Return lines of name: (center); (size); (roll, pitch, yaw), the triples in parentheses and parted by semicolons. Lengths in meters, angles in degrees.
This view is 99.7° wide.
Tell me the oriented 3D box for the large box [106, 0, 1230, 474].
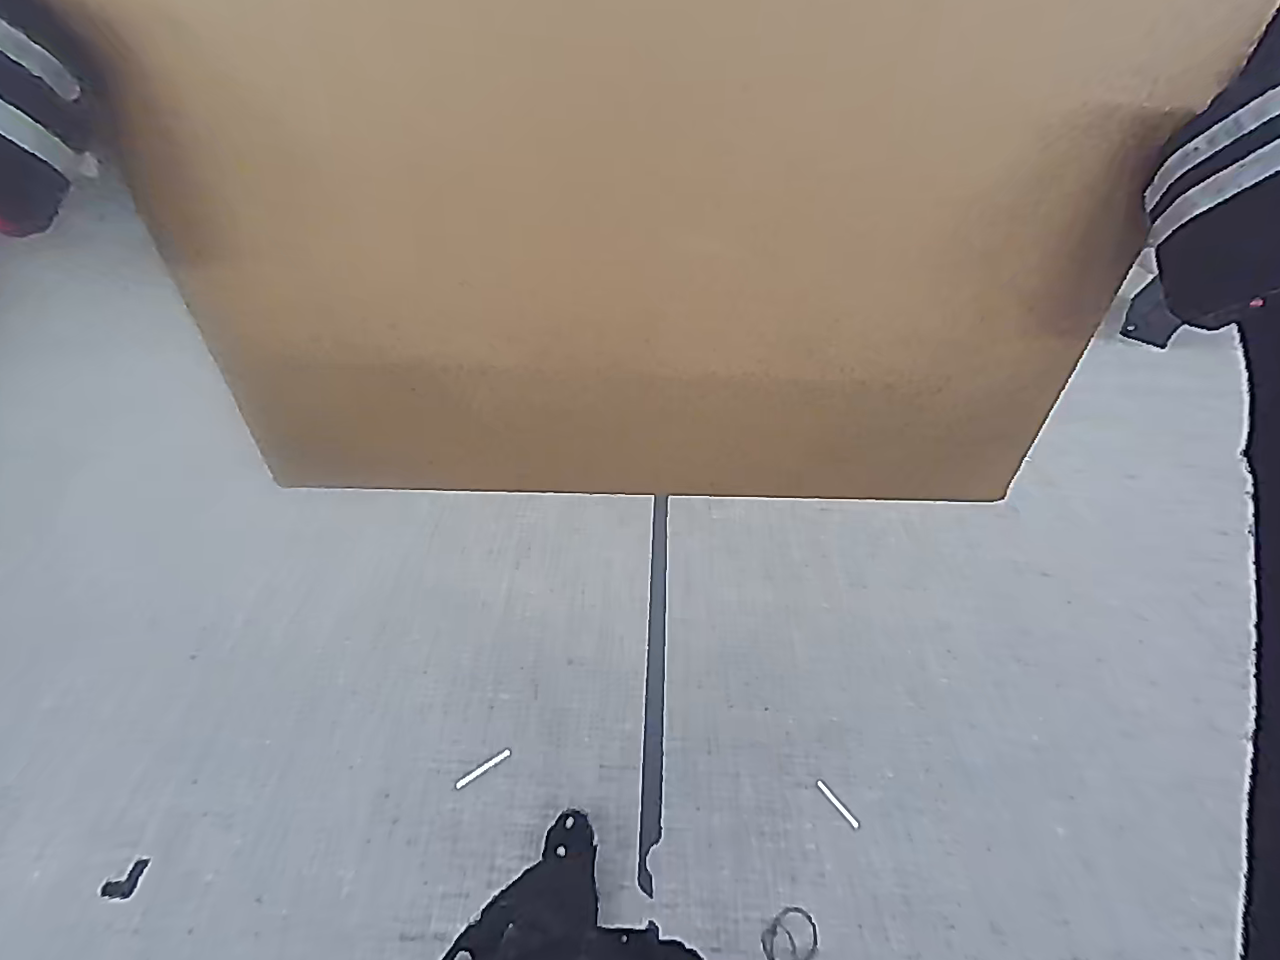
large box: (0.007, -0.215, 0.336); (0.408, 0.320, 0.320); (2, 38, -1)
